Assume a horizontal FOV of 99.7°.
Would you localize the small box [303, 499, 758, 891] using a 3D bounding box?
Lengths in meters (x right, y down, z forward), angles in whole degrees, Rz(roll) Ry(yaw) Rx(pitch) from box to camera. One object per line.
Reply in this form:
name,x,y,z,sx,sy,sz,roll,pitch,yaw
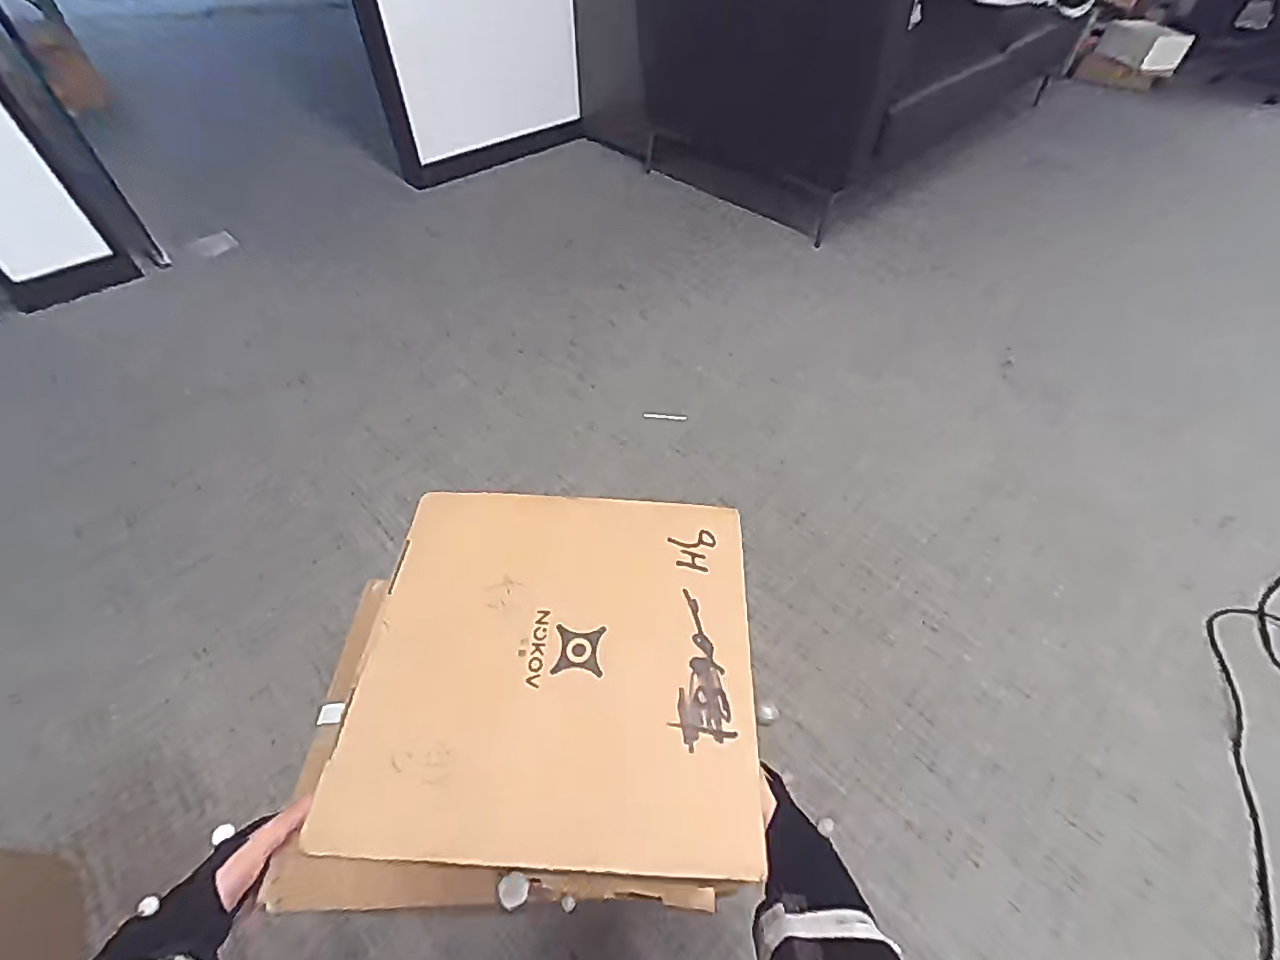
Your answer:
small box,-0.038,0.128,0.311,0.179,0.176,0.168,3,53,1
